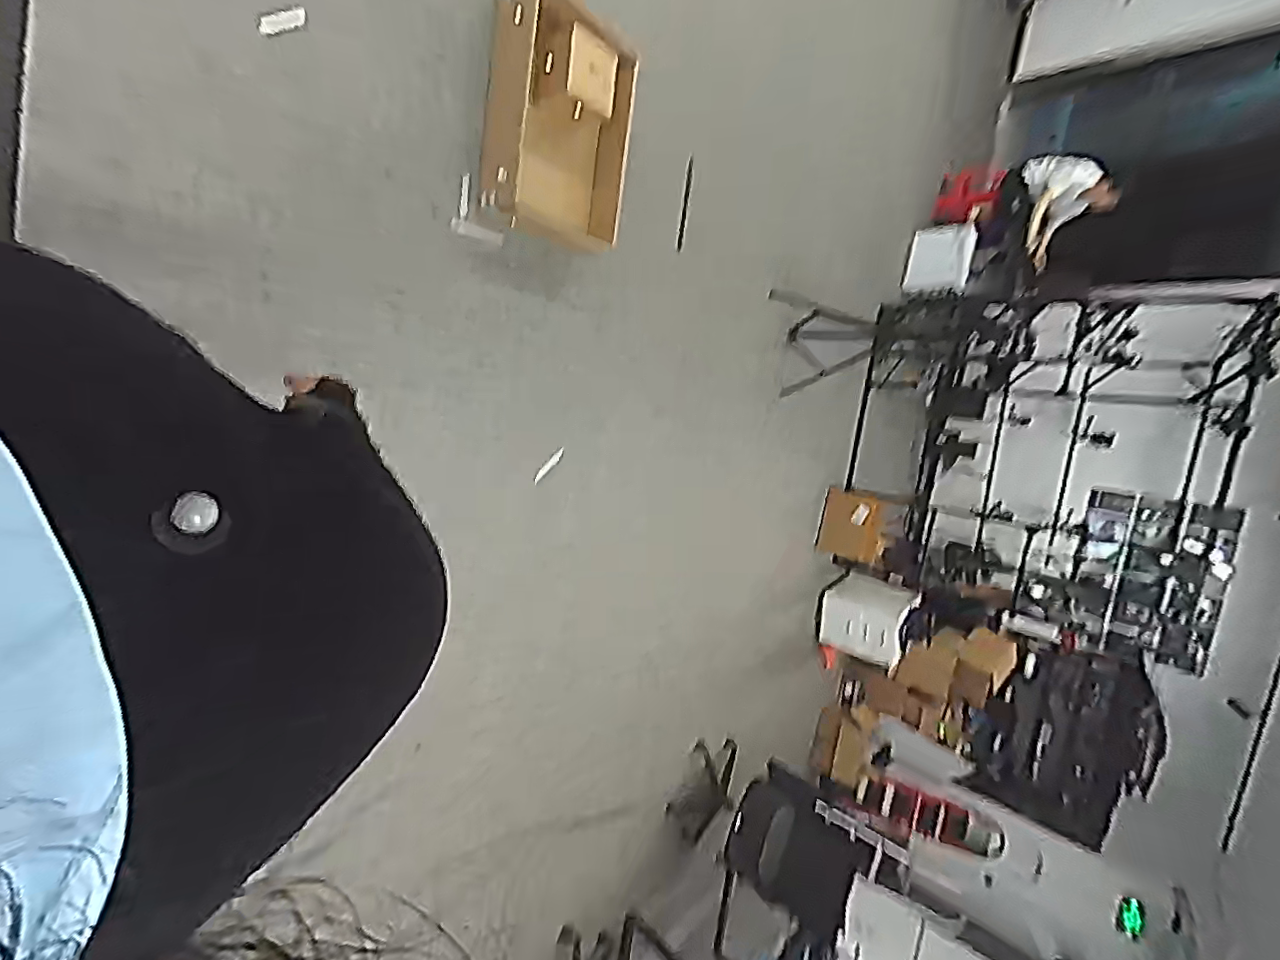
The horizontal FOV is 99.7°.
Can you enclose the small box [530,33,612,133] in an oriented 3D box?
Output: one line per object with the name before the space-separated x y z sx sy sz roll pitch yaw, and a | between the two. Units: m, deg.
small box | -0.210 -1.174 1.619 0.179 0.176 0.168 -2 102 -49
